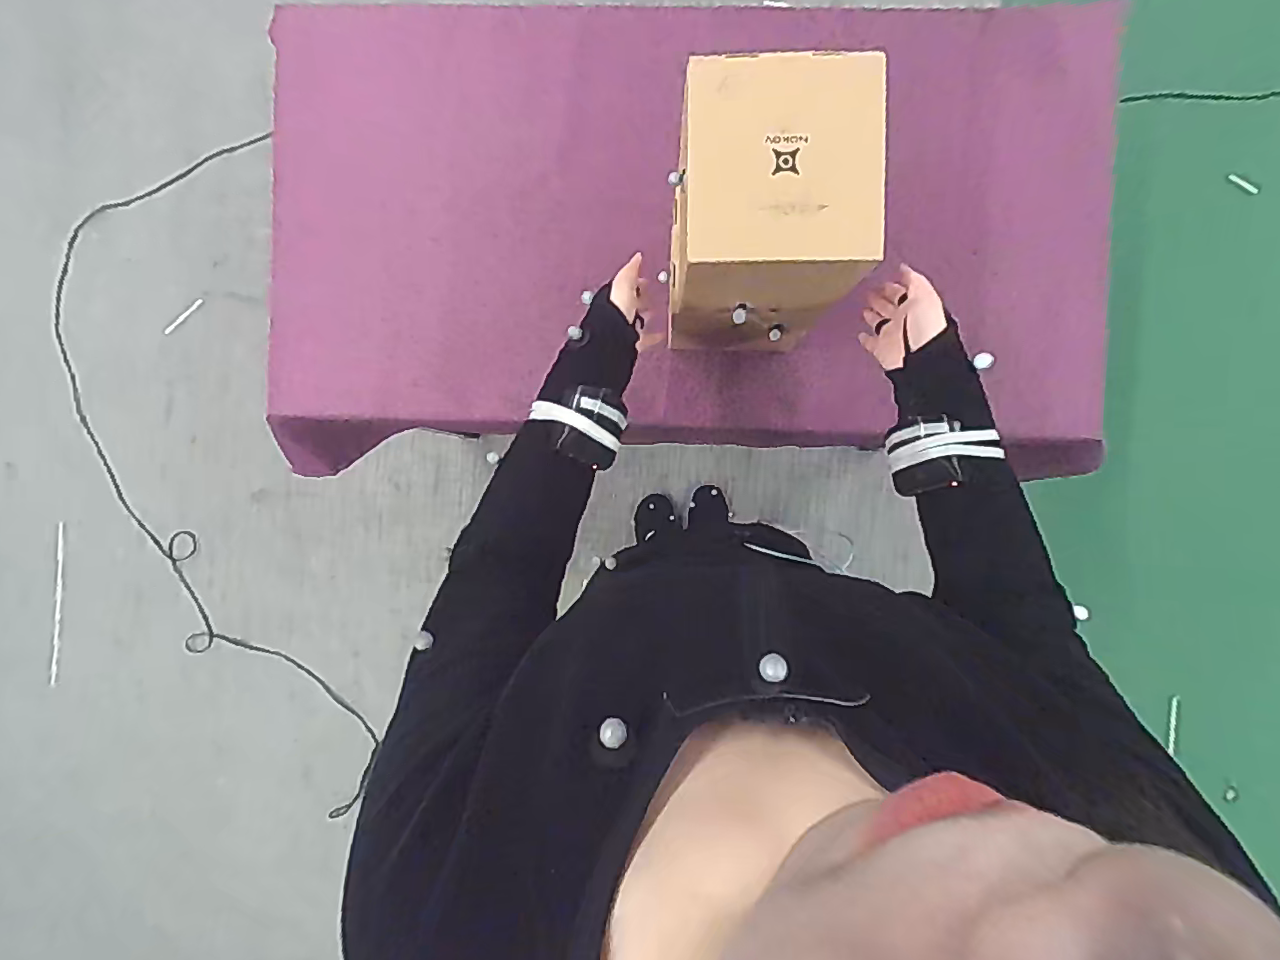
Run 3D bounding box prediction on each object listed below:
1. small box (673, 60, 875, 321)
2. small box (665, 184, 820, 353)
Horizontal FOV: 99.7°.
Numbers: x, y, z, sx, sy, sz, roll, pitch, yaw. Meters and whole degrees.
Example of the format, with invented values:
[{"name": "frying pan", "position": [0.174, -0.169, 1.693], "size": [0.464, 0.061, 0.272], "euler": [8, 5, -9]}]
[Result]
[{"name": "small box", "position": [0.118, -0.270, 0.539], "size": [0.168, 0.176, 0.179], "euler": [0, 91, 2]}, {"name": "small box", "position": [0.124, -0.267, 0.702], "size": [0.179, 0.176, 0.168], "euler": [1, 90, 2]}]
